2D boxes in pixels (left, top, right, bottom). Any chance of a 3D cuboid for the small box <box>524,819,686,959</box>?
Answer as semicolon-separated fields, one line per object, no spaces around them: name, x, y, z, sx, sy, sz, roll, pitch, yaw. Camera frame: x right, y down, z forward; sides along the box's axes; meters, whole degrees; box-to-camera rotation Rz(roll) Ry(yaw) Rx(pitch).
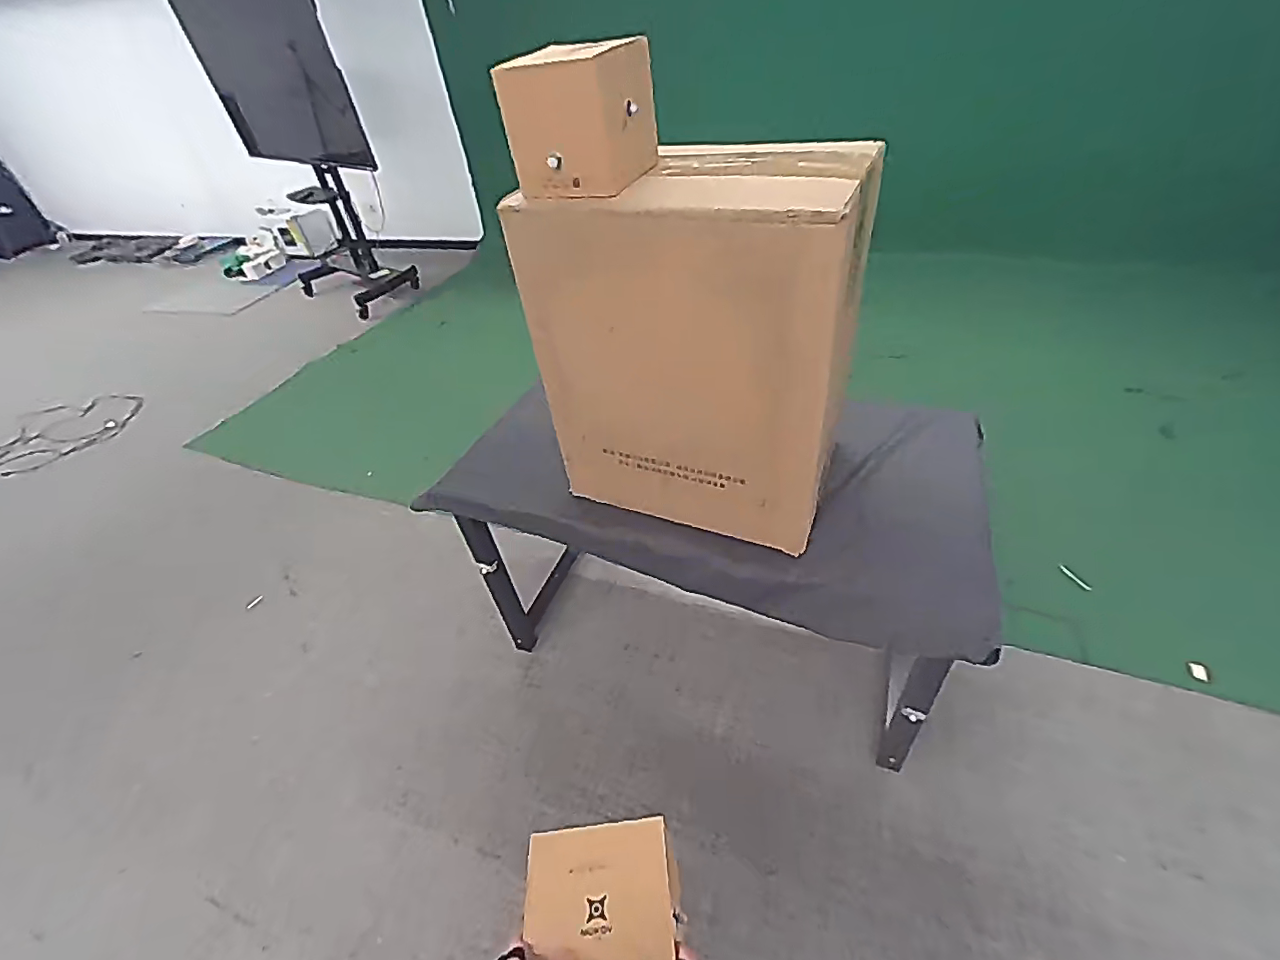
small box;-0.034;0.537;0.642;0.168;0.176;0.179;-8;39;0

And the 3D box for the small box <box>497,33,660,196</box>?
small box;-0.078;-0.543;0.806;0.168;0.176;0.179;14;48;24
